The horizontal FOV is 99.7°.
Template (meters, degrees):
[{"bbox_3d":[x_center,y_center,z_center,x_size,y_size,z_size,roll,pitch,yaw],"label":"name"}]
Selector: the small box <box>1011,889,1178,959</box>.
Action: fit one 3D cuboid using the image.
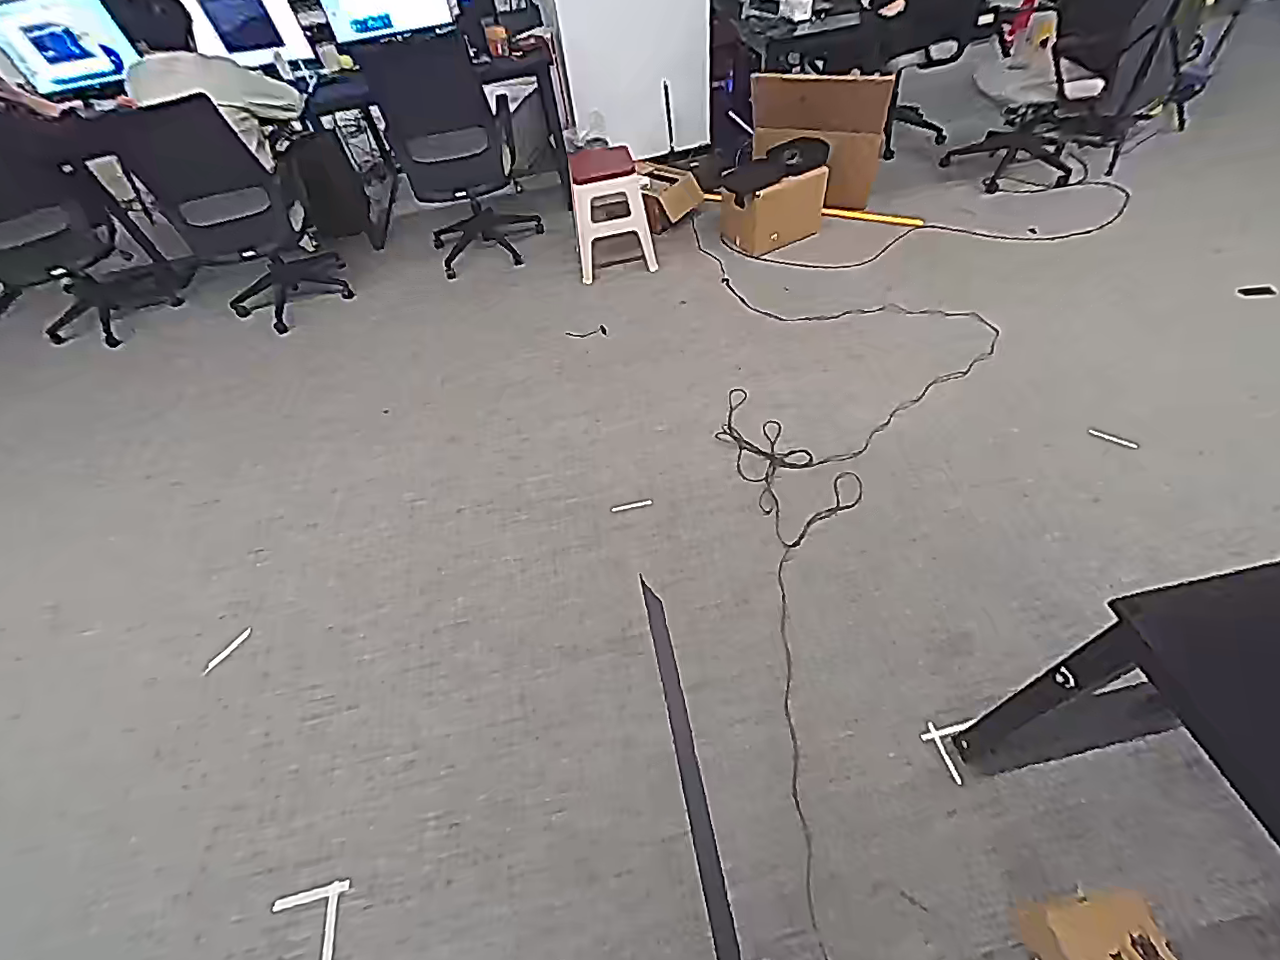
[{"bbox_3d":[0.835,0.868,0.988,0.179,0.176,0.168,-13,51,-2],"label":"small box"}]
